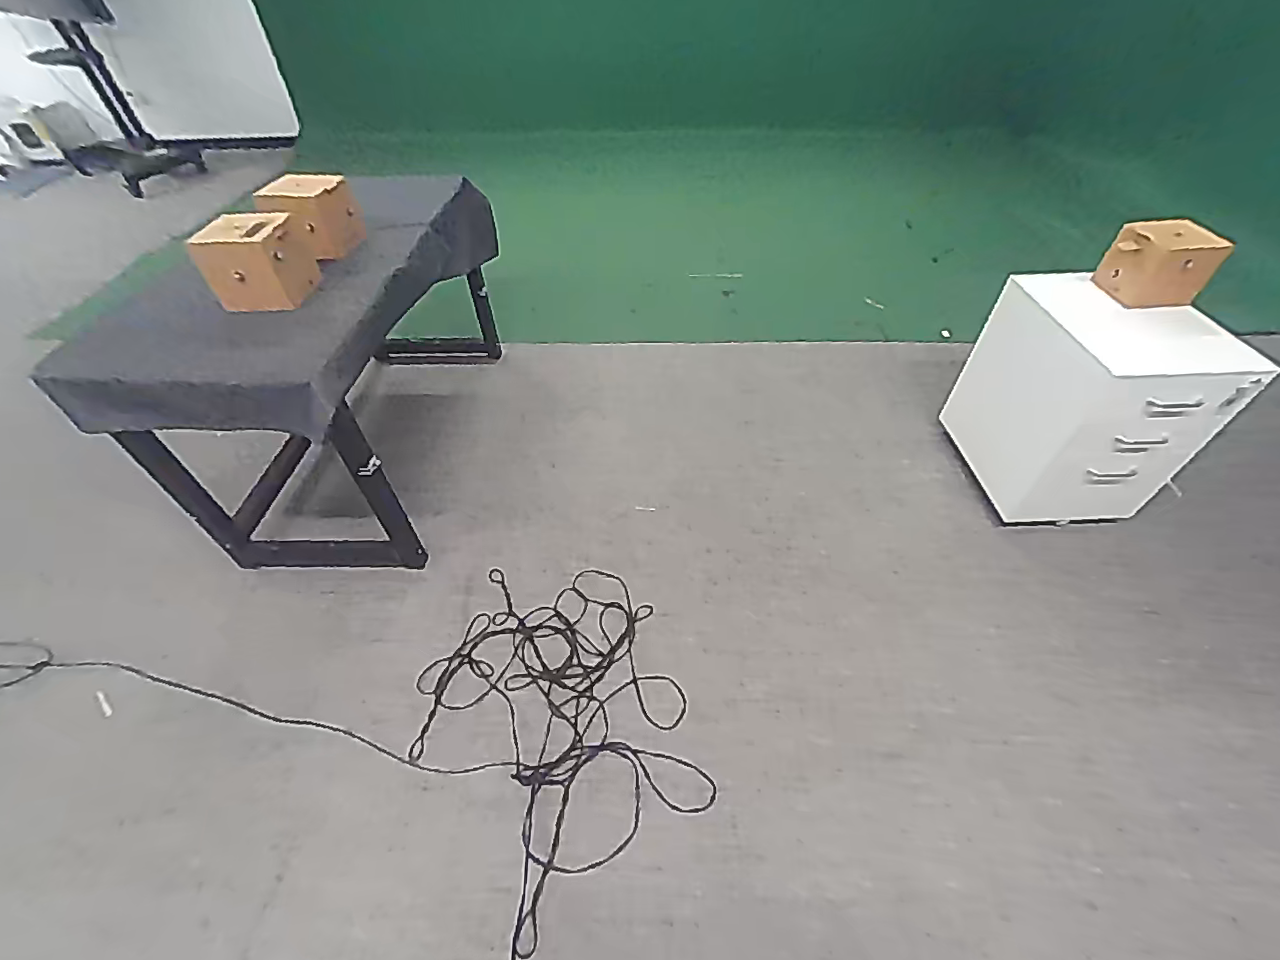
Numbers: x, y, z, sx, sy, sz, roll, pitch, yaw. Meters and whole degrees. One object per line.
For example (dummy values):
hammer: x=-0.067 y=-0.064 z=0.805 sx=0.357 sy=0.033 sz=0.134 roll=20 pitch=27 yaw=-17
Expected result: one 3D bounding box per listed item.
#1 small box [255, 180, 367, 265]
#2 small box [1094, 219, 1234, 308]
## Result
small box: x=-0.893 y=-0.708 z=1.493 sx=0.179 sy=0.176 sz=0.168 roll=3 pitch=45 yaw=7
small box: x=1.403 y=-0.585 z=1.465 sx=0.179 sy=0.176 sz=0.168 roll=-4 pitch=48 yaw=0
